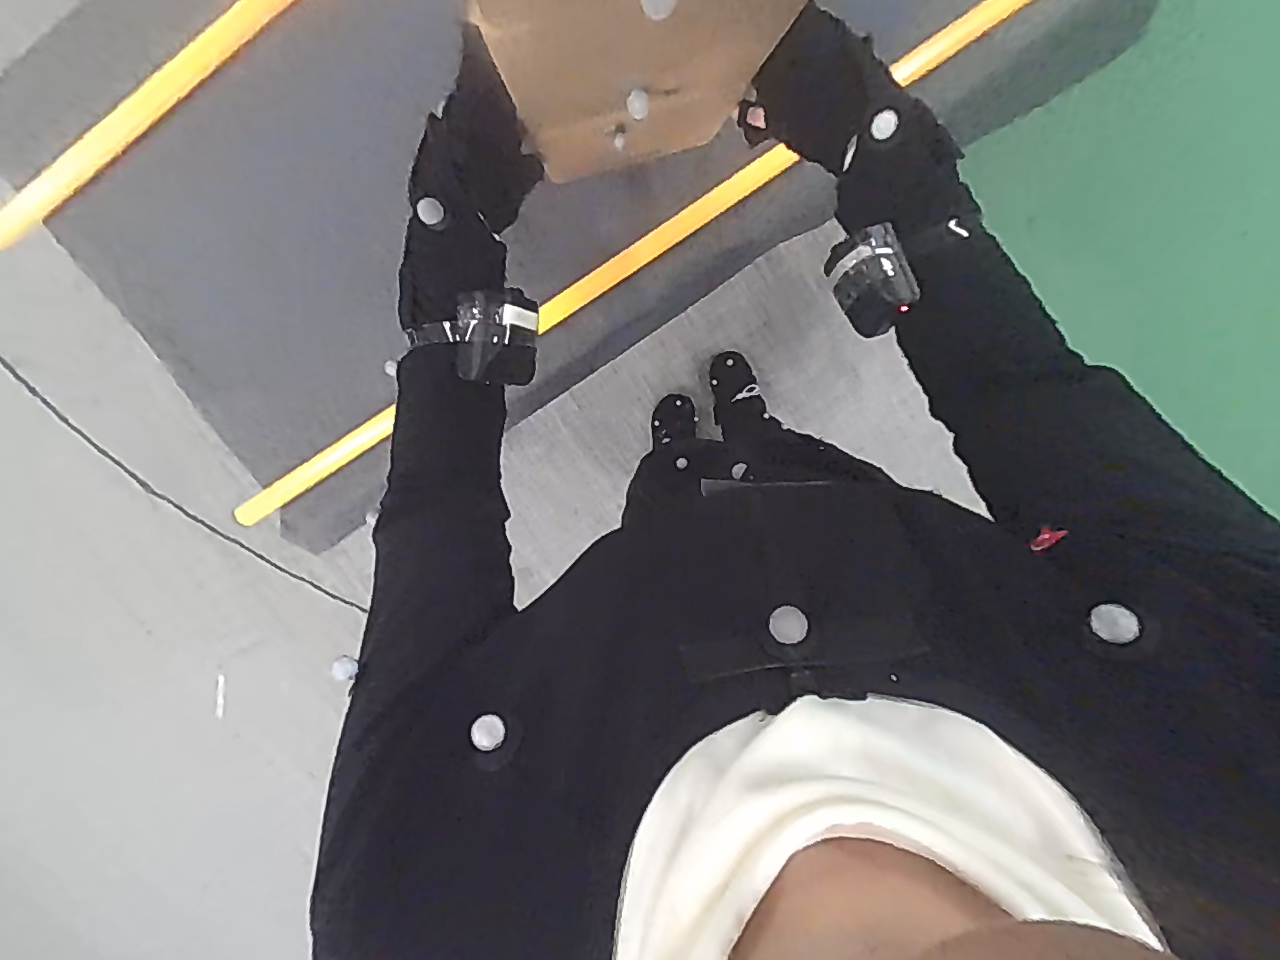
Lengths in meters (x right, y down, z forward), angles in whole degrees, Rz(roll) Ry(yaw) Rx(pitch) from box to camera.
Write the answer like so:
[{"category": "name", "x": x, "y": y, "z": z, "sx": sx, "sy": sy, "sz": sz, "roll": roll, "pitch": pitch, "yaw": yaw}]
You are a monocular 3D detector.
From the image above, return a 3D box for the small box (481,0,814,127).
[{"category": "small box", "x": -0.009, "y": -0.319, "z": 0.282, "sx": 0.168, "sy": 0.176, "sz": 0.179, "roll": -12, "pitch": 111, "yaw": 2}]

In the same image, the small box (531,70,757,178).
[{"category": "small box", "x": -0.017, "y": -0.372, "z": 0.438, "sx": 0.168, "sy": 0.176, "sz": 0.179, "roll": -13, "pitch": 110, "yaw": 2}]
